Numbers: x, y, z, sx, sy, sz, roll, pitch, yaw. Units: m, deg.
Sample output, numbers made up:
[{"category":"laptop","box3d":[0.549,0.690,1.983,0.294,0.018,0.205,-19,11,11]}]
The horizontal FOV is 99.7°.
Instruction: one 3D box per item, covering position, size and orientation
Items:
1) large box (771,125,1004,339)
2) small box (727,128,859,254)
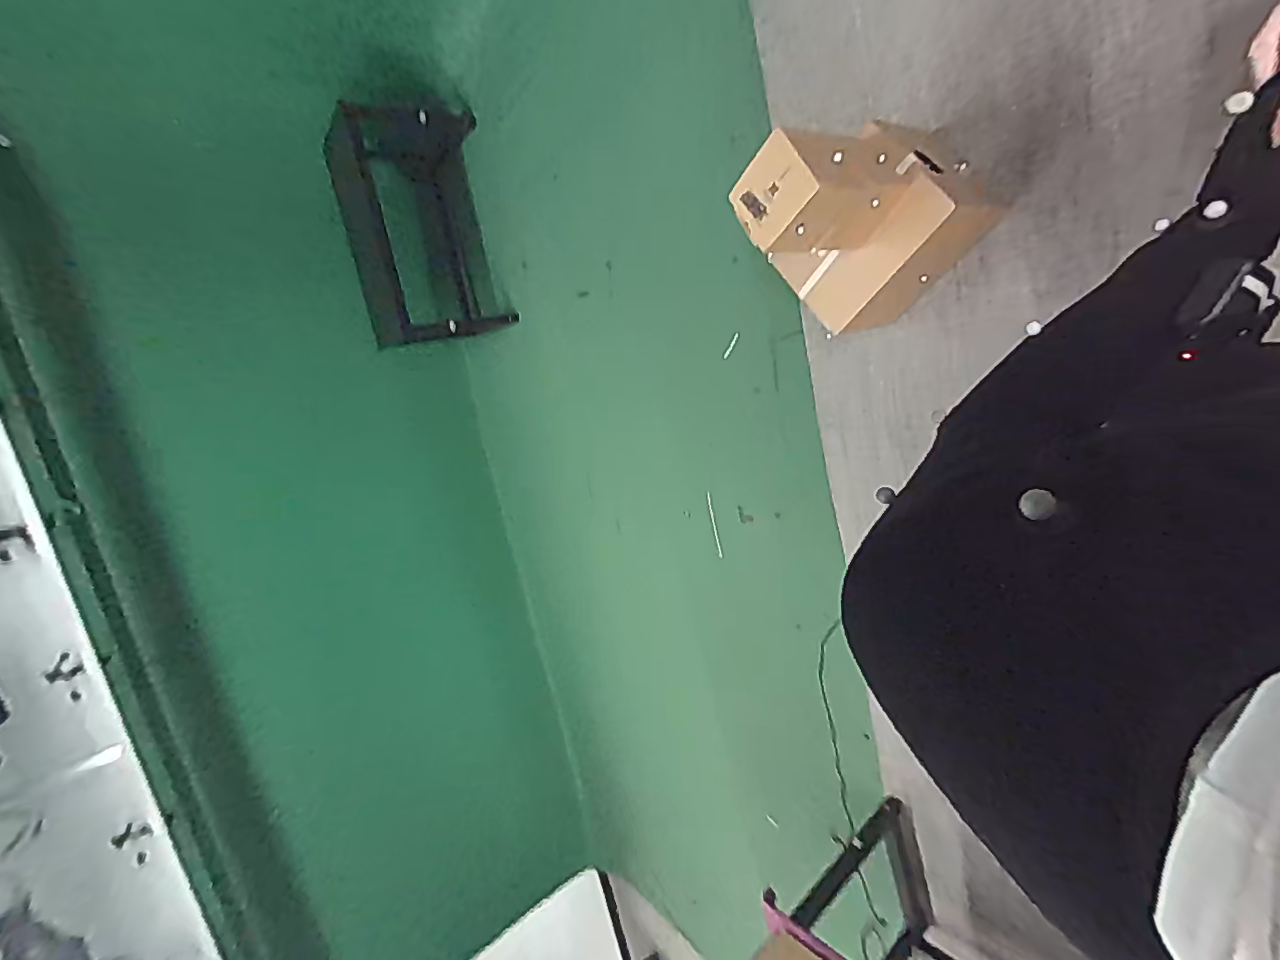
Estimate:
[{"category":"large box","box3d":[0.641,-0.648,1.443,0.320,0.320,0.408,59,144,18]},{"category":"small box","box3d":[0.329,-0.613,1.166,0.168,0.176,0.179,62,143,12]}]
